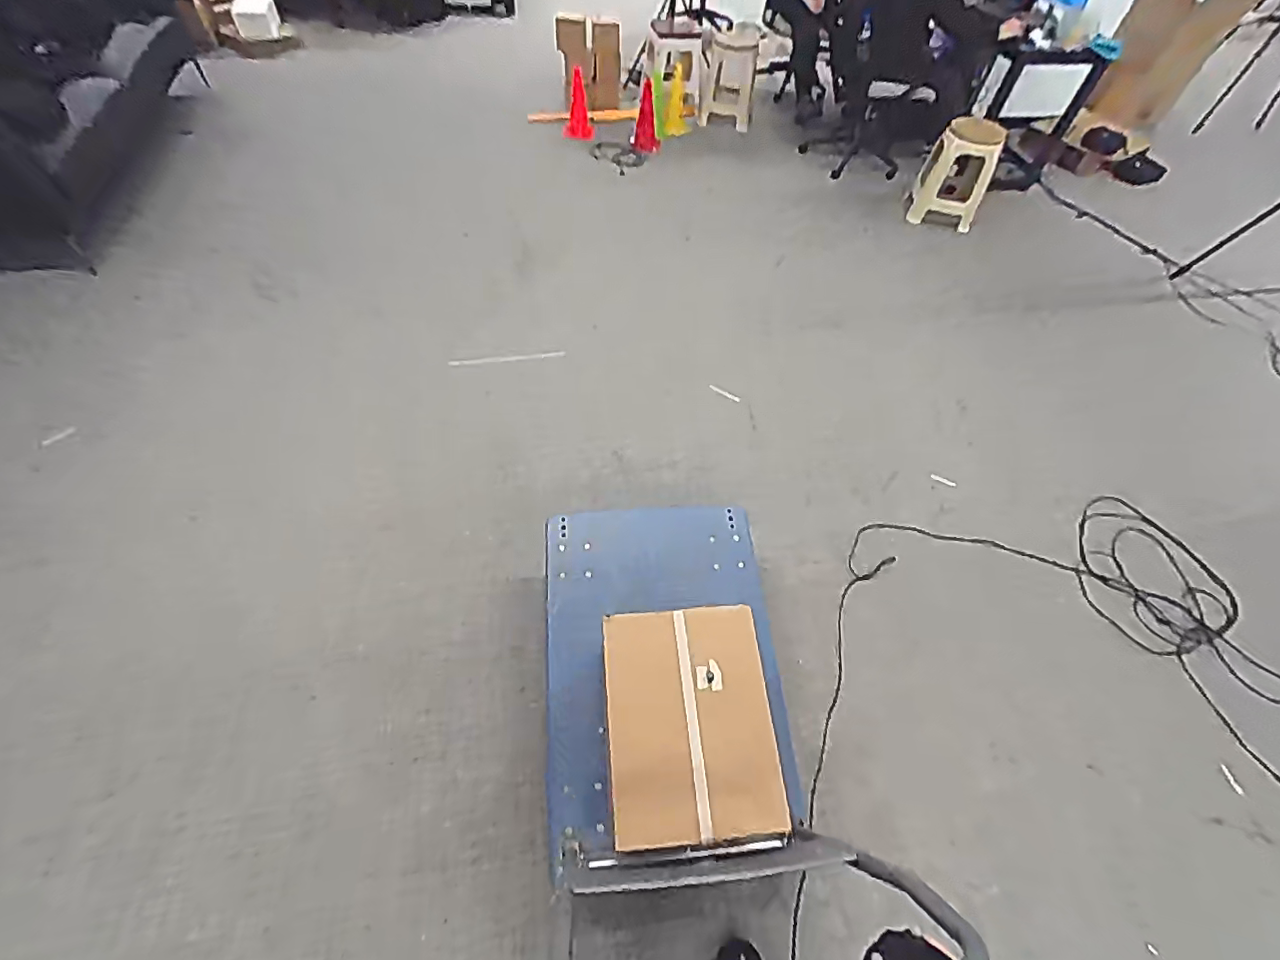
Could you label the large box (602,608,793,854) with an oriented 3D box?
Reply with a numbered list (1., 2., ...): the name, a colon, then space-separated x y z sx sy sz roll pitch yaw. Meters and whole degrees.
1. large box: 0.089 0.525 1.153 0.320 0.320 0.408 -3 60 -6
